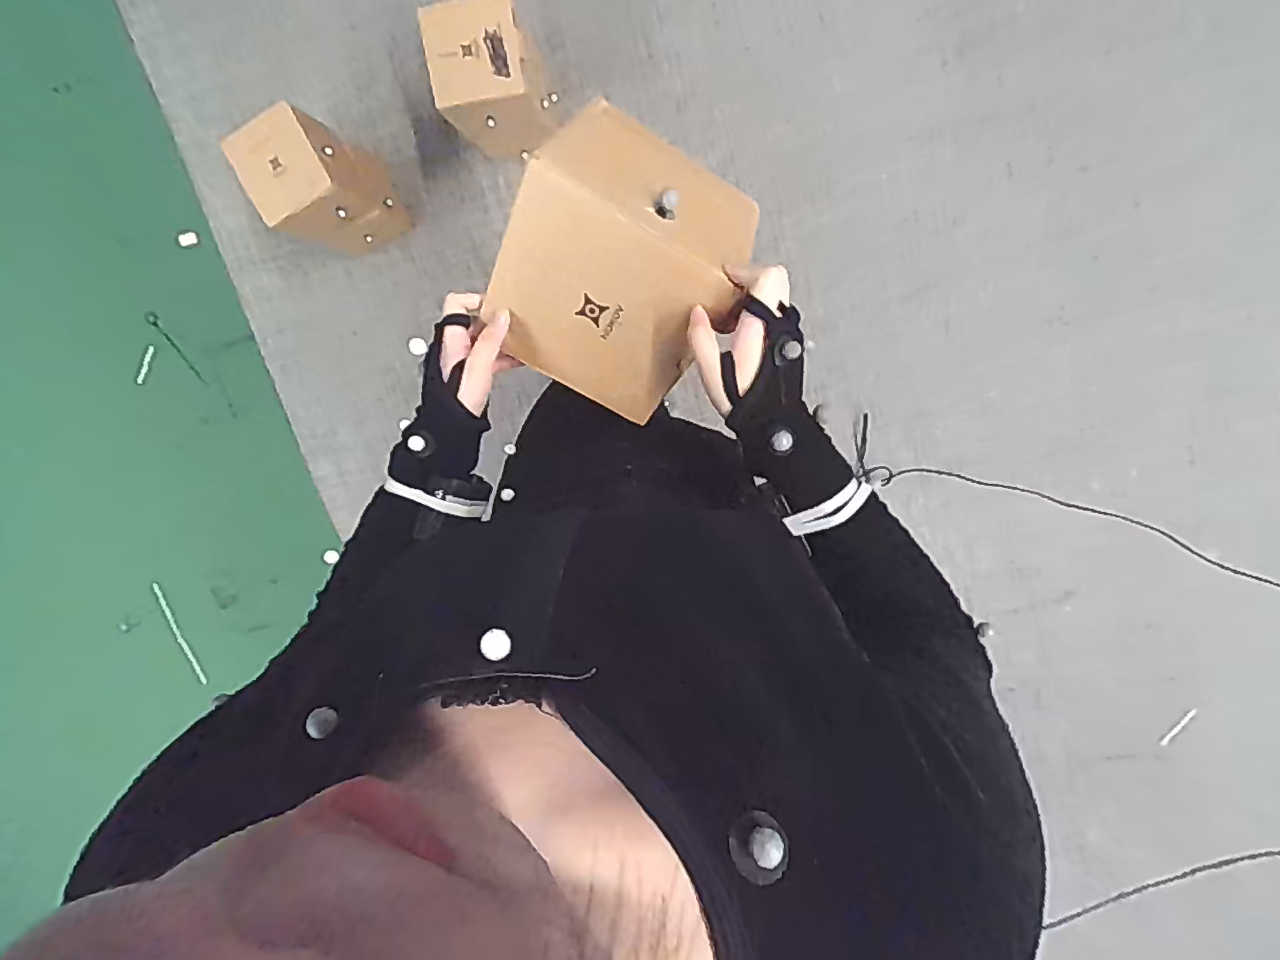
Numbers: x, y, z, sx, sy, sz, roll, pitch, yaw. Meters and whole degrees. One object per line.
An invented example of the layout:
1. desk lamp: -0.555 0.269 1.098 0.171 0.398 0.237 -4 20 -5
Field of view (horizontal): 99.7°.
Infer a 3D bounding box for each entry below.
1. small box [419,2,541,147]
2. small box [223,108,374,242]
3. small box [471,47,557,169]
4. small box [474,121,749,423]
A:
1. small box: -0.302 -0.788 1.069 0.179 0.176 0.168 -6 103 6
2. small box: -0.702 -0.623 1.137 0.168 0.176 0.179 -24 100 8
3. small box: -0.293 -0.833 1.228 0.179 0.176 0.168 -7 102 5
4. small box: -0.019 -0.192 0.495 0.179 0.176 0.168 28 135 -13
